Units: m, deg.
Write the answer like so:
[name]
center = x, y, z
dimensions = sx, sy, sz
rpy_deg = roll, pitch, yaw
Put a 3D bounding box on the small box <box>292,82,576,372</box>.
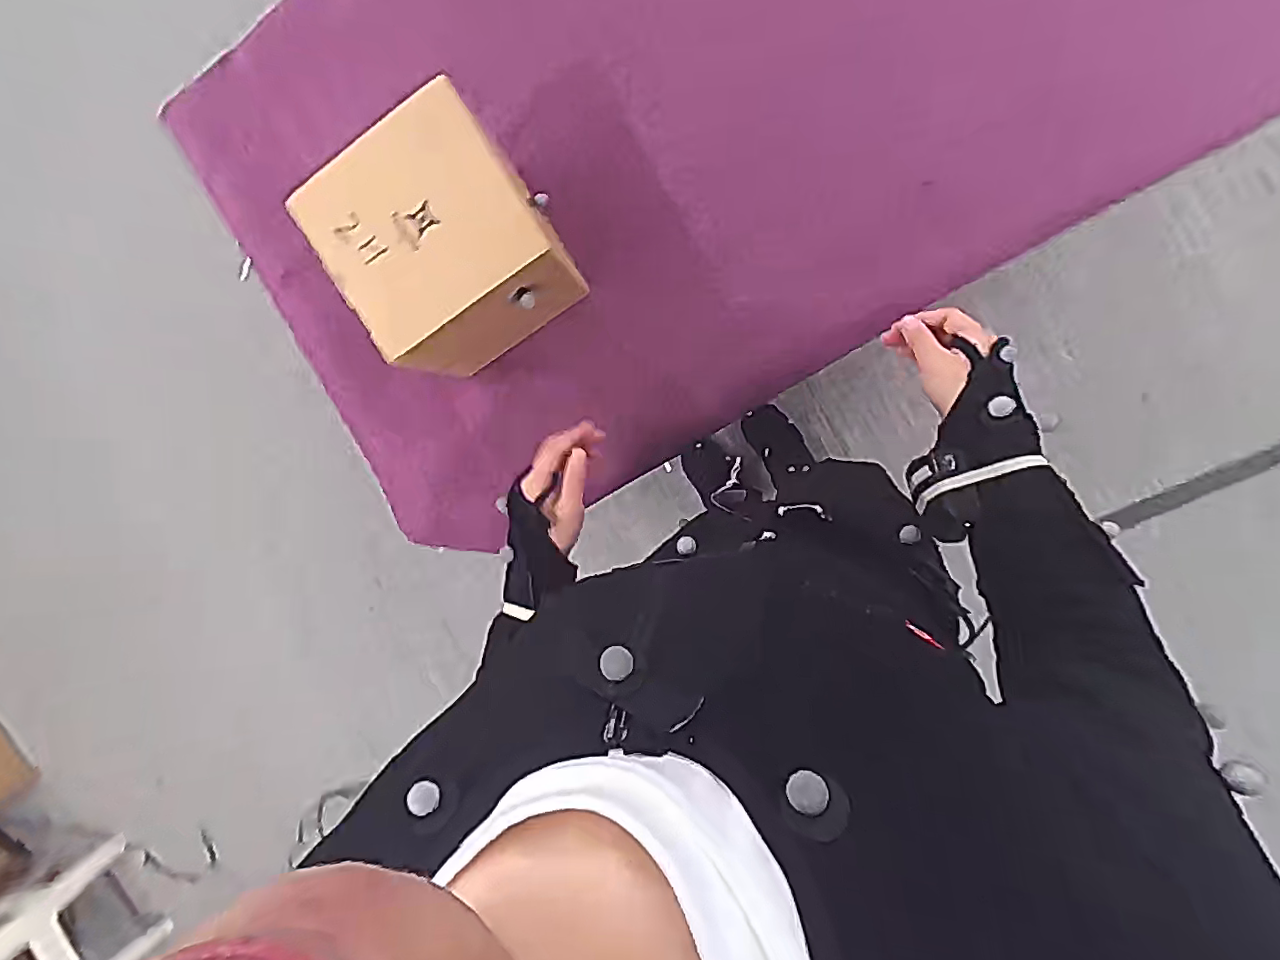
[small box]
center = -0.179, -0.225, 0.535
dimensions = 0.179, 0.176, 0.168
rpy_deg = -32, 92, 9
